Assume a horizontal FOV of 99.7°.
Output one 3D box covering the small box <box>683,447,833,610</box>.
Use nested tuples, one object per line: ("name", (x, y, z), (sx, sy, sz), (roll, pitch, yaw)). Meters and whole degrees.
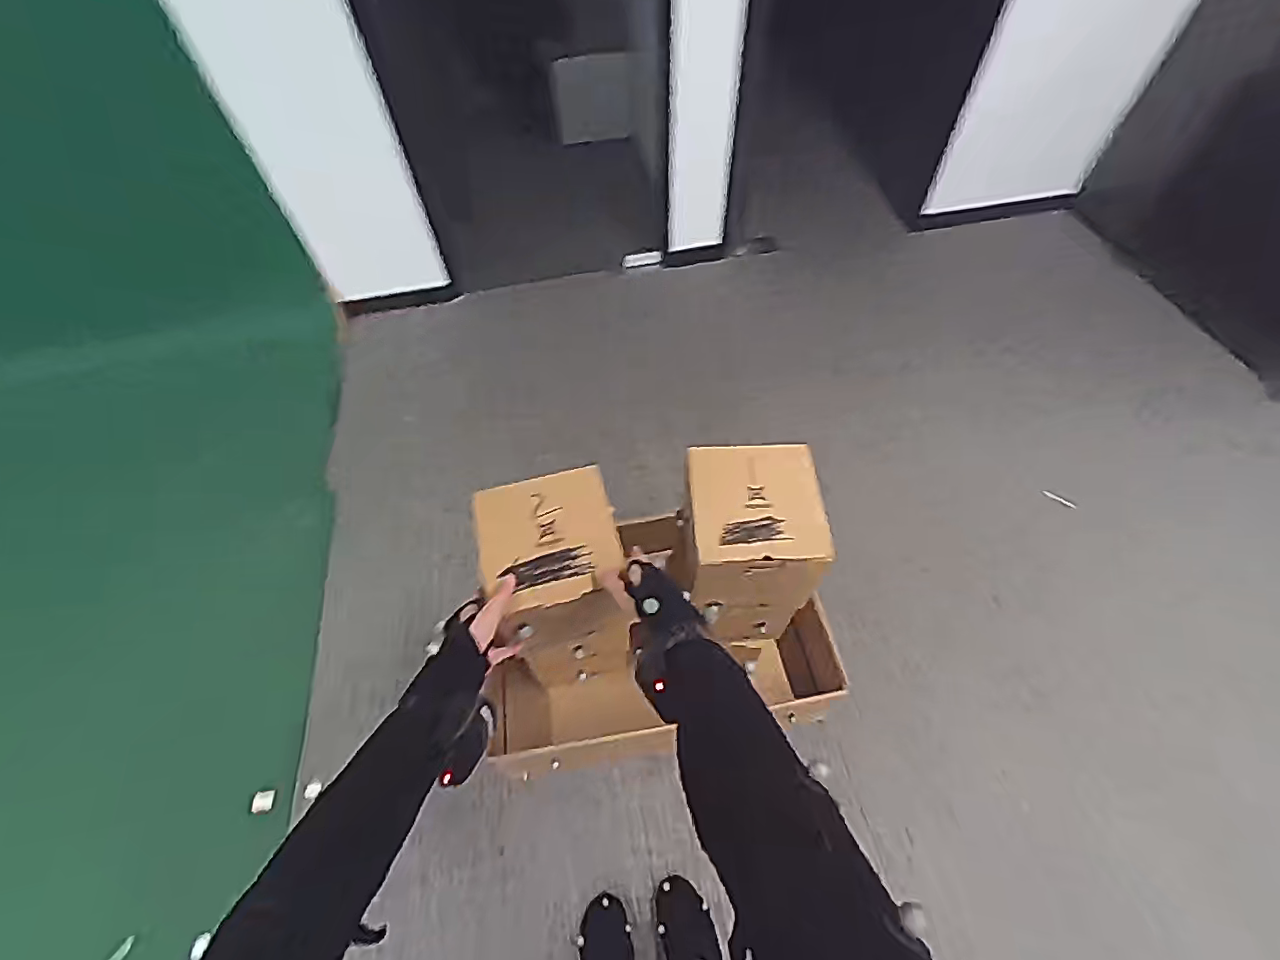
("small box", (0.149, 0.074, 0.751), (0.168, 0.176, 0.179), (-1, 55, 0))

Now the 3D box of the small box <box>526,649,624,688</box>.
("small box", (-0.127, 0.269, 1.015), (0.168, 0.176, 0.179), (-11, 57, -7))

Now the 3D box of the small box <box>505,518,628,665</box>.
("small box", (-0.114, 0.187, 0.872), (0.168, 0.176, 0.179), (-10, 58, -8))

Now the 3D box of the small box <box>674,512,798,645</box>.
("small box", (0.146, 0.164, 0.887), (0.168, 0.176, 0.179), (-3, 56, -2))
